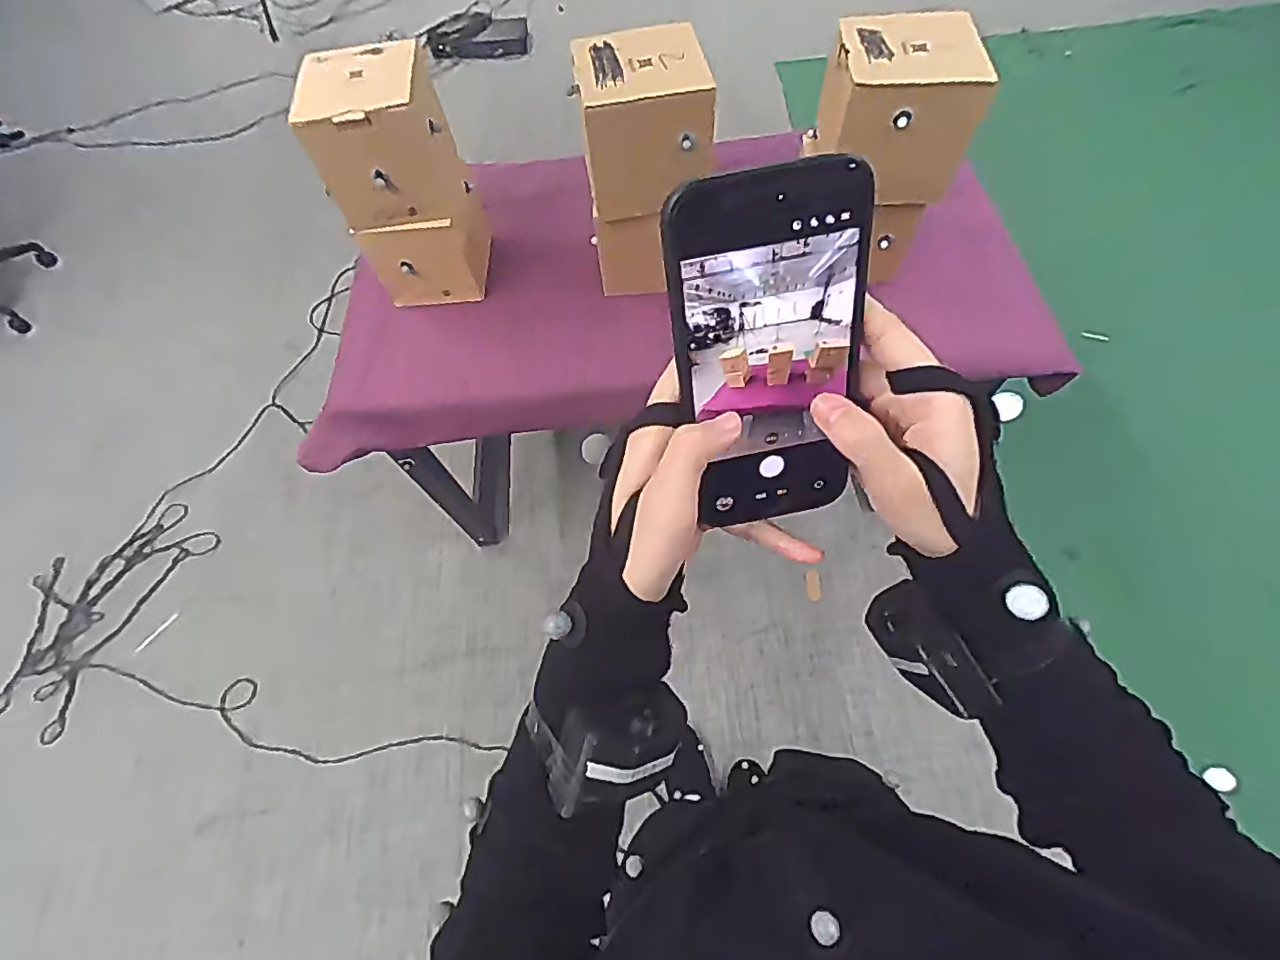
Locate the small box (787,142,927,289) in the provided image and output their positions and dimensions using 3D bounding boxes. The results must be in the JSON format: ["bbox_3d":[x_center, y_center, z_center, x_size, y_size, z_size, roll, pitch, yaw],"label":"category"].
[{"bbox_3d":[0.357,-0.446,0.925,0.179,0.176,0.168,2,63,6],"label":"small box"}]

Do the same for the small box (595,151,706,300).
[{"bbox_3d":[0.018,-0.437,0.944,0.179,0.176,0.168,-4,63,3],"label":"small box"}]

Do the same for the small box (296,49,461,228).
[{"bbox_3d":[-0.384,-0.510,0.828,0.168,0.176,0.179,-8,64,0],"label":"small box"}]

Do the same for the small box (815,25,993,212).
[{"bbox_3d":[0.356,-0.507,0.772,0.179,0.176,0.168,2,63,4],"label":"small box"}]

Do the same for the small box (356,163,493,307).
[{"bbox_3d":[-0.372,-0.429,0.971,0.168,0.176,0.179,-3,63,3],"label":"small box"}]
